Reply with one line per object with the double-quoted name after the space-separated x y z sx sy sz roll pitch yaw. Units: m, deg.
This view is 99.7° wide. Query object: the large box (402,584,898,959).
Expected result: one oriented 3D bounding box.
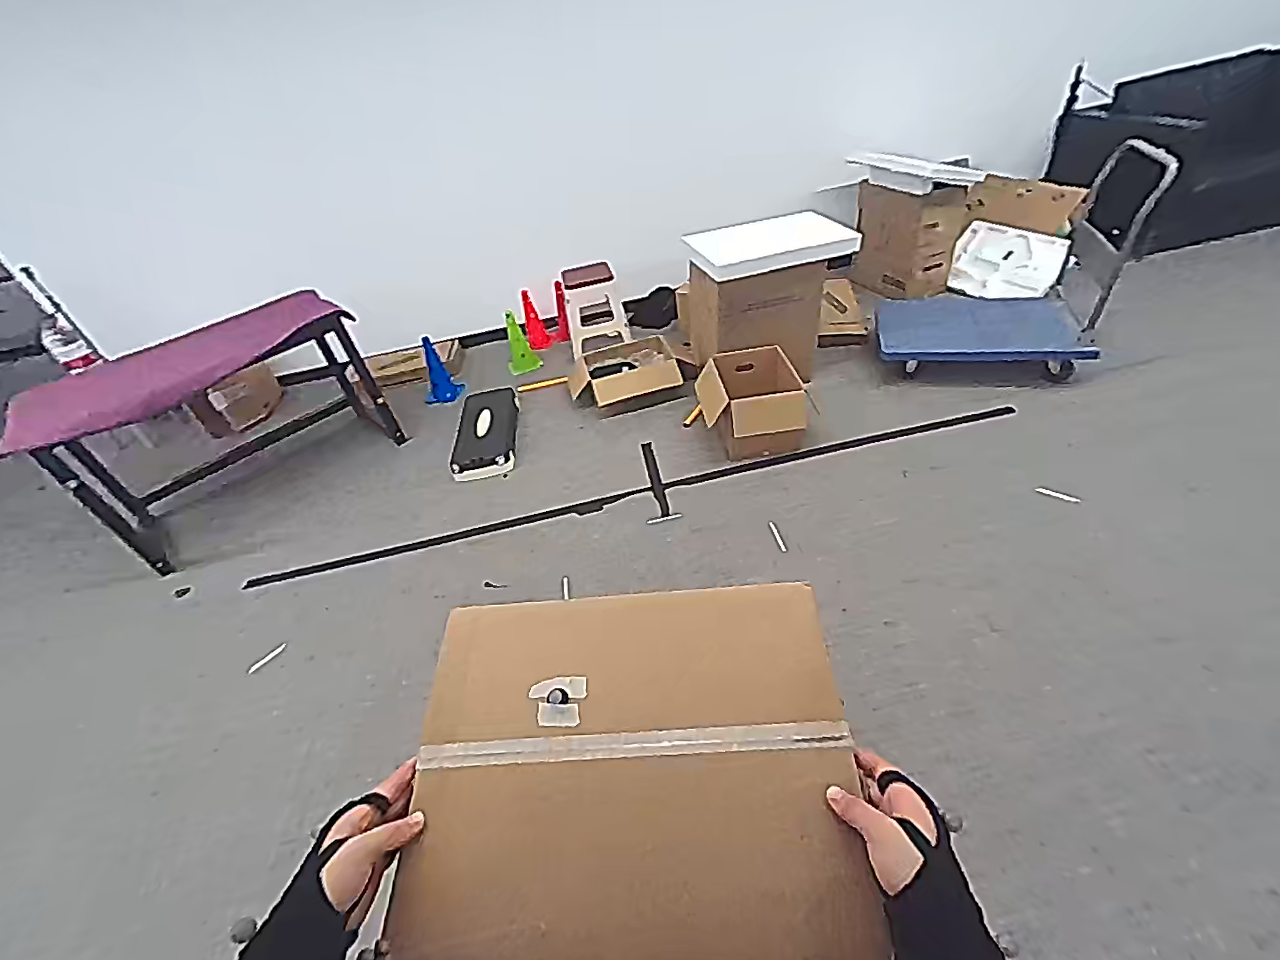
0.018 0.348 0.631 0.408 0.320 0.320 -6 49 6 "large box"
